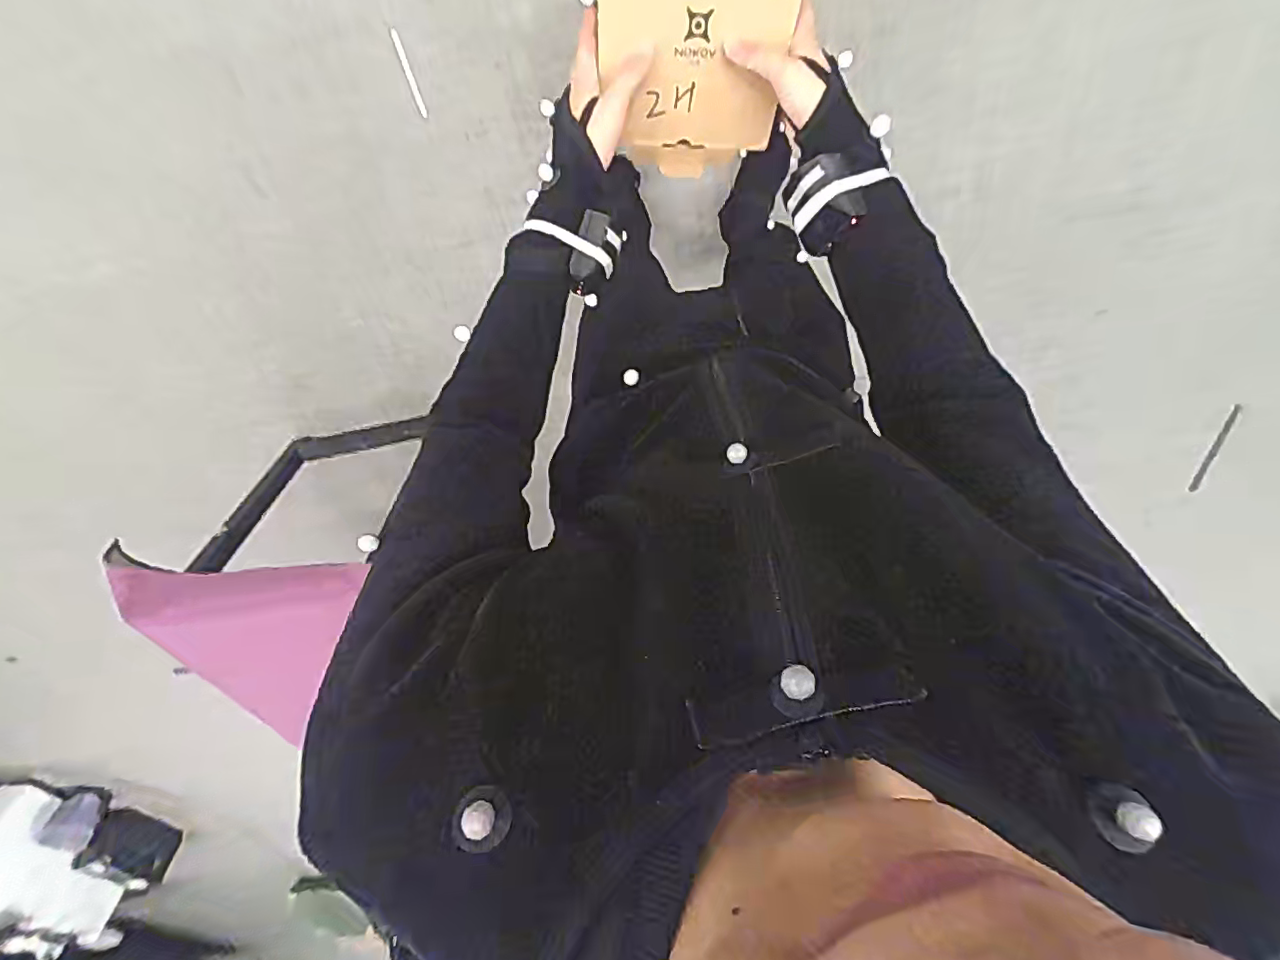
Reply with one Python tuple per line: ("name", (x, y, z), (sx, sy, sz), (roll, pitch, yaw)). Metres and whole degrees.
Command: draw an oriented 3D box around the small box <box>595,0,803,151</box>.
("small box", (0.043, -0.434, 0.491), (0.168, 0.176, 0.179), (1, 146, -4))
